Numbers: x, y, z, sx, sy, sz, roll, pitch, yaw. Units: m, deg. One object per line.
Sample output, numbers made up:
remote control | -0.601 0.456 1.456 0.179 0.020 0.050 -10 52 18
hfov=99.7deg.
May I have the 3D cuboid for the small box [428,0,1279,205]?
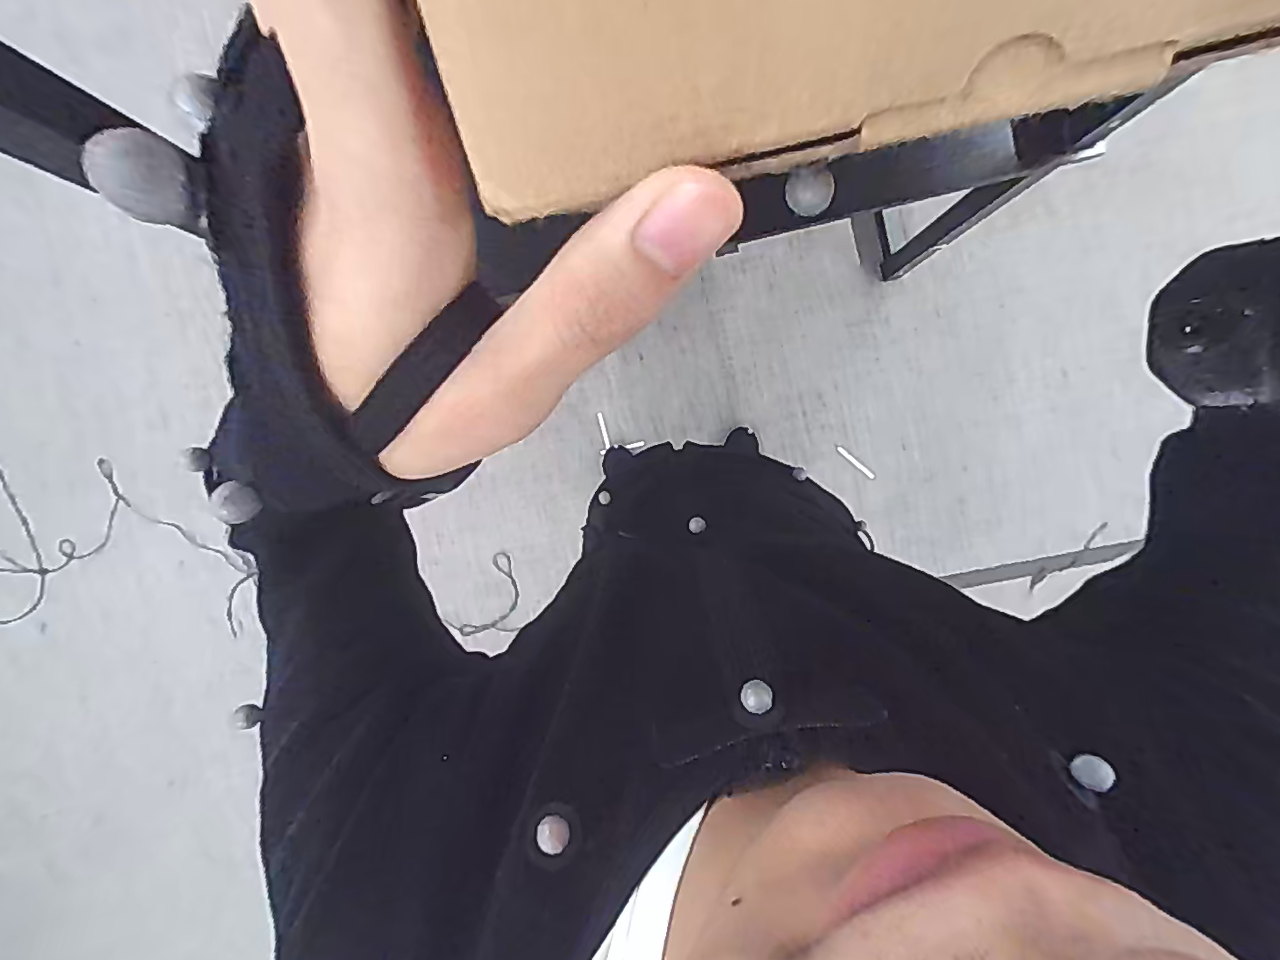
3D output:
small box | 0.038 -0.171 0.115 0.168 0.176 0.179 -10 116 6
